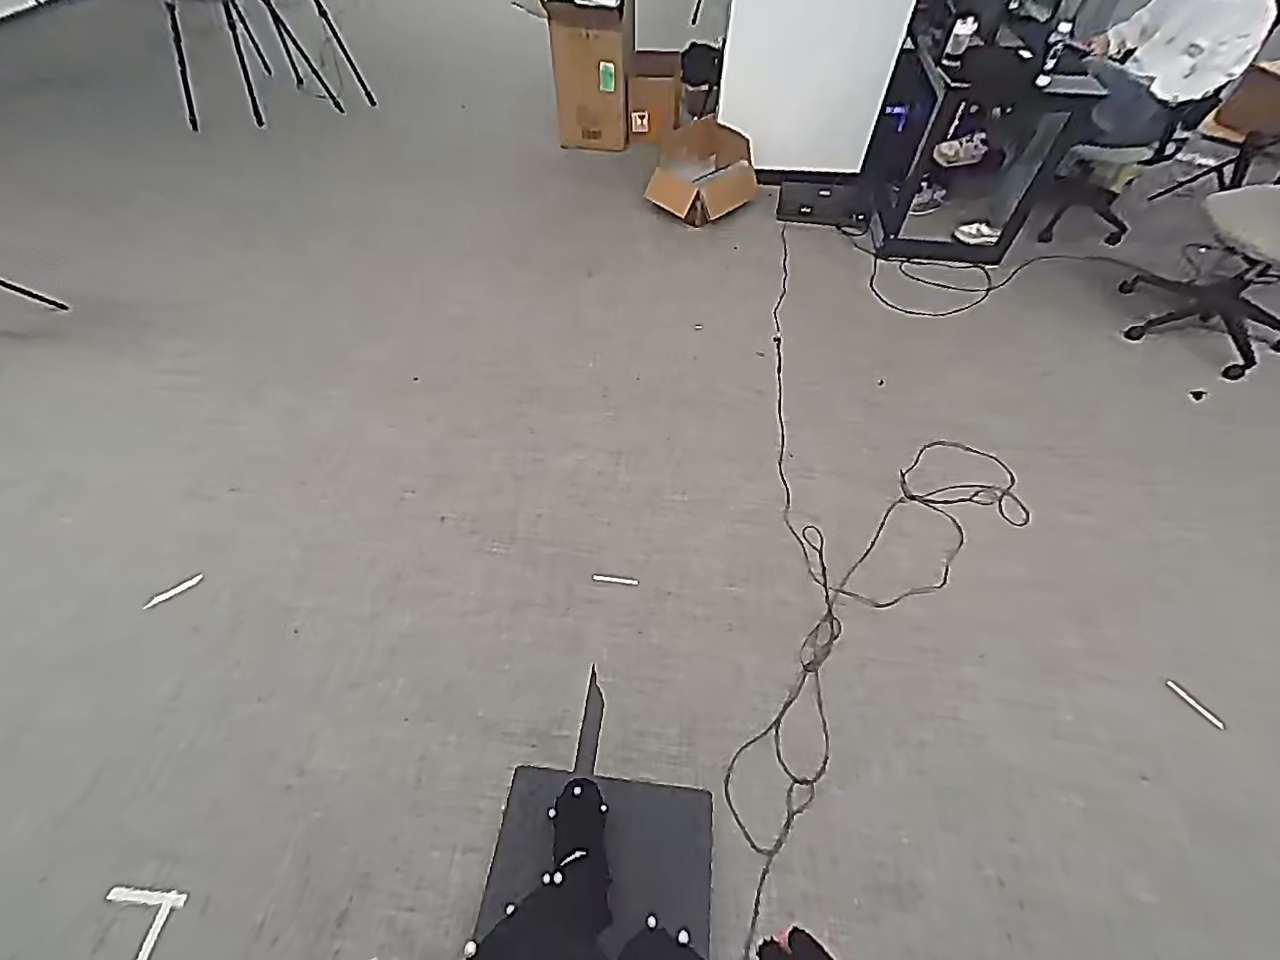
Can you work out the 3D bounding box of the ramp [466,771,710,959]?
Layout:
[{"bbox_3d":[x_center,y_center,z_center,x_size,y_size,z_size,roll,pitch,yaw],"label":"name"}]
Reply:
[{"bbox_3d":[-0.128,1.092,0.981,0.509,0.206,0.991,4,54,4],"label":"ramp"}]
